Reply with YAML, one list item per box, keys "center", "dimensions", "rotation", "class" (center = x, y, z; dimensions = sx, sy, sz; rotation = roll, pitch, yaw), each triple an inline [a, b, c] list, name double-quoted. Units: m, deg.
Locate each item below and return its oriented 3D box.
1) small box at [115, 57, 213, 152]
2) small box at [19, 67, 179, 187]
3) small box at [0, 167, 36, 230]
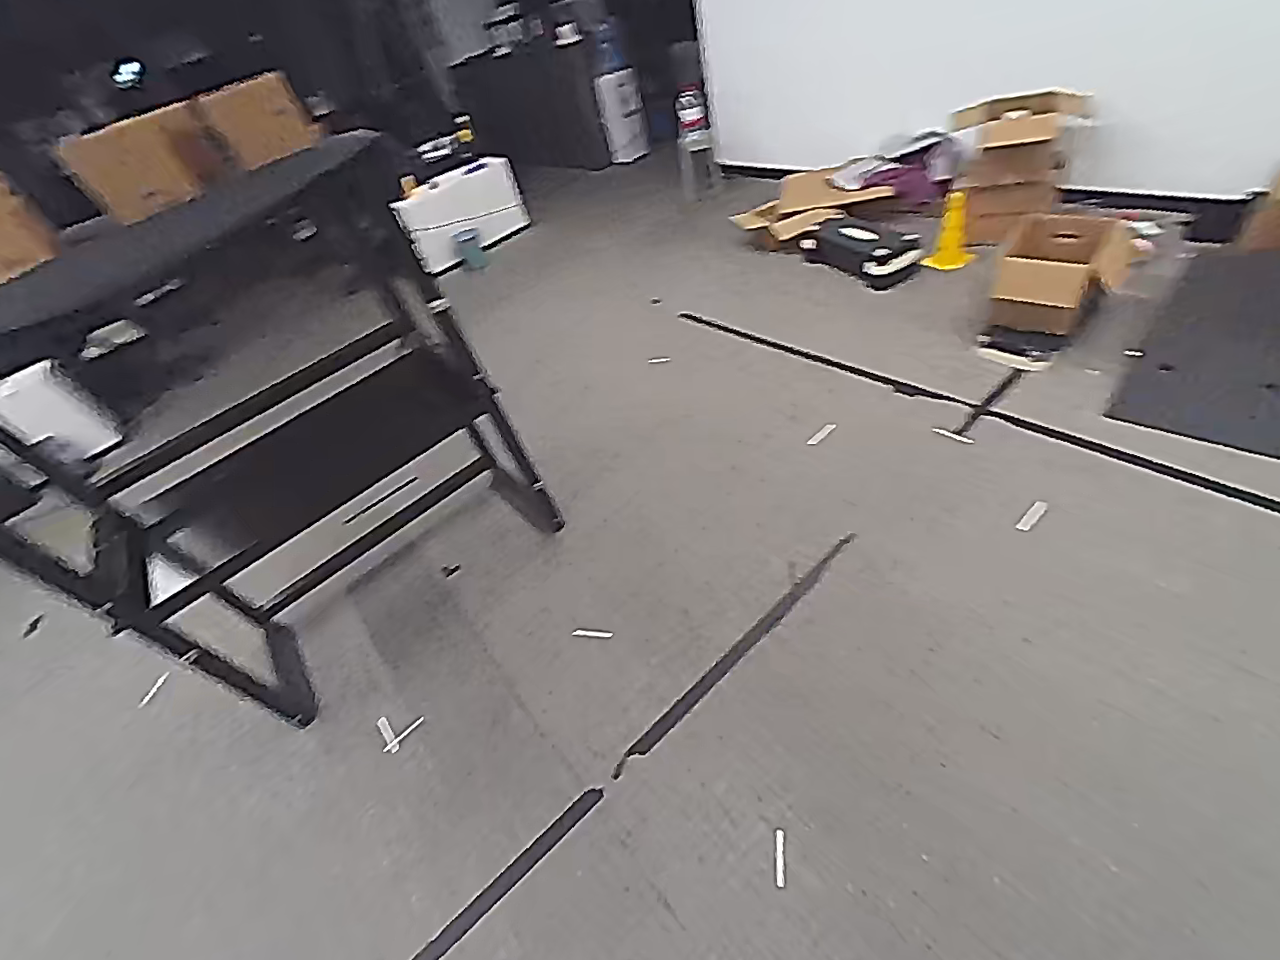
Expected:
- center: [-1.198, -0.908, 1.329]
  dimensions: [0.168, 0.176, 0.179]
  rotation: [-38, 47, -19]
  class: "small box"
- center: [-1.126, -0.735, 1.135]
  dimensions: [0.179, 0.176, 0.168]
  rotation: [28, 61, 37]
  class: "small box"
- center: [-1.336, -0.564, 1.037]
  dimensions: [0.168, 0.176, 0.179]
  rotation: [-36, 46, -17]
  class: "small box"
